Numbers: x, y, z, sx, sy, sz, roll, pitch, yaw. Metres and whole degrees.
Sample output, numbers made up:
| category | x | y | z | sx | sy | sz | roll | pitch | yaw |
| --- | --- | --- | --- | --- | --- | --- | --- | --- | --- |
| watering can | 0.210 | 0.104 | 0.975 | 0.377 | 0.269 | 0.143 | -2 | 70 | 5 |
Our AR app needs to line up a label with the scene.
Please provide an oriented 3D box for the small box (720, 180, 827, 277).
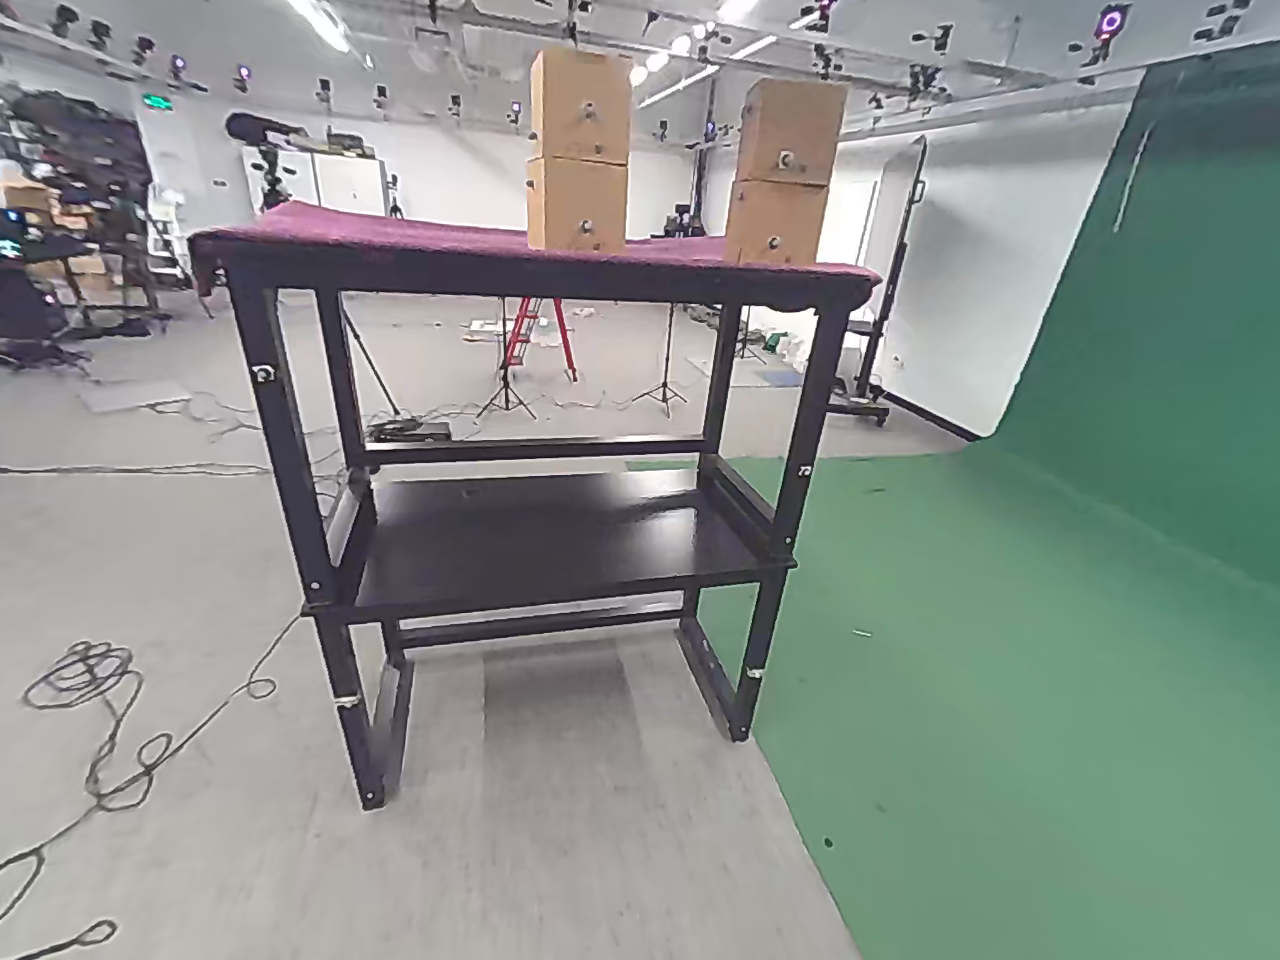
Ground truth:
| category | x | y | z | sx | sy | sz | roll | pitch | yaw |
| --- | --- | --- | --- | --- | --- | --- | --- | --- | --- |
| small box | 0.278 | -0.545 | 1.172 | 0.168 | 0.176 | 0.179 | 2 | 28 | -6 |

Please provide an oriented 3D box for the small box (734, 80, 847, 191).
| category | x | y | z | sx | sy | sz | roll | pitch | yaw |
| --- | --- | --- | --- | --- | --- | --- | --- | --- | --- |
| small box | 0.292 | -0.685 | 1.091 | 0.168 | 0.176 | 0.179 | 2 | 29 | -2 |

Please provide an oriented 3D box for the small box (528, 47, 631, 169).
| category | x | y | z | sx | sy | sz | roll | pitch | yaw |
| --- | --- | --- | --- | --- | --- | --- | --- | --- | --- |
| small box | -0.121 | -0.698 | 1.037 | 0.168 | 0.176 | 0.179 | -4 | 28 | -17 |
